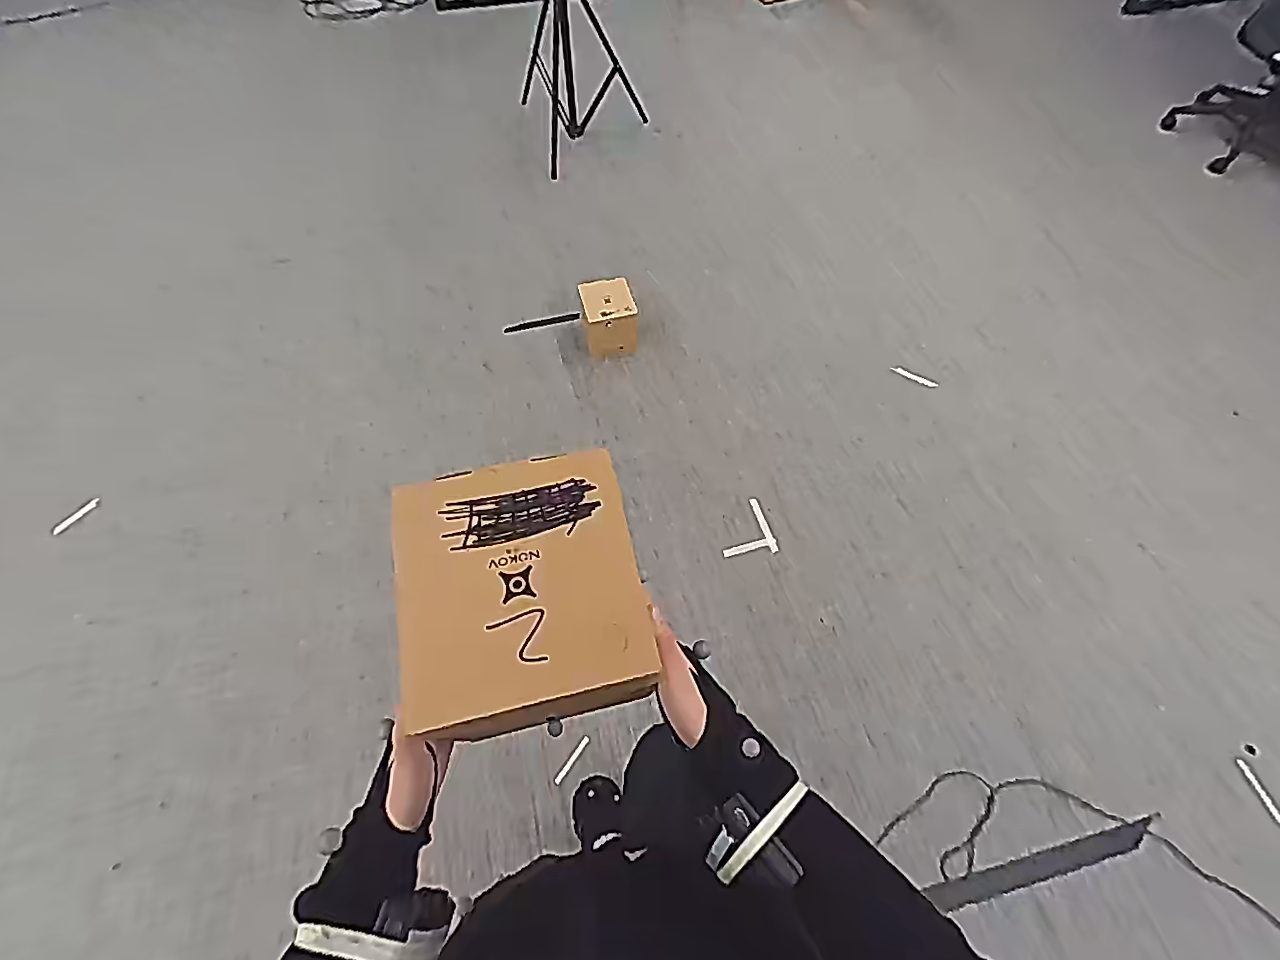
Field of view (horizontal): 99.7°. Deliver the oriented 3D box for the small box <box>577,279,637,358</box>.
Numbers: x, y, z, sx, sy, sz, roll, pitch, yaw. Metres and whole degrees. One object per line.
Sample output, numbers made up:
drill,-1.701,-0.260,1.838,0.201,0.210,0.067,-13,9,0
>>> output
small box,-0.112,-0.546,1.832,0.168,0.176,0.179,-14,62,-8
